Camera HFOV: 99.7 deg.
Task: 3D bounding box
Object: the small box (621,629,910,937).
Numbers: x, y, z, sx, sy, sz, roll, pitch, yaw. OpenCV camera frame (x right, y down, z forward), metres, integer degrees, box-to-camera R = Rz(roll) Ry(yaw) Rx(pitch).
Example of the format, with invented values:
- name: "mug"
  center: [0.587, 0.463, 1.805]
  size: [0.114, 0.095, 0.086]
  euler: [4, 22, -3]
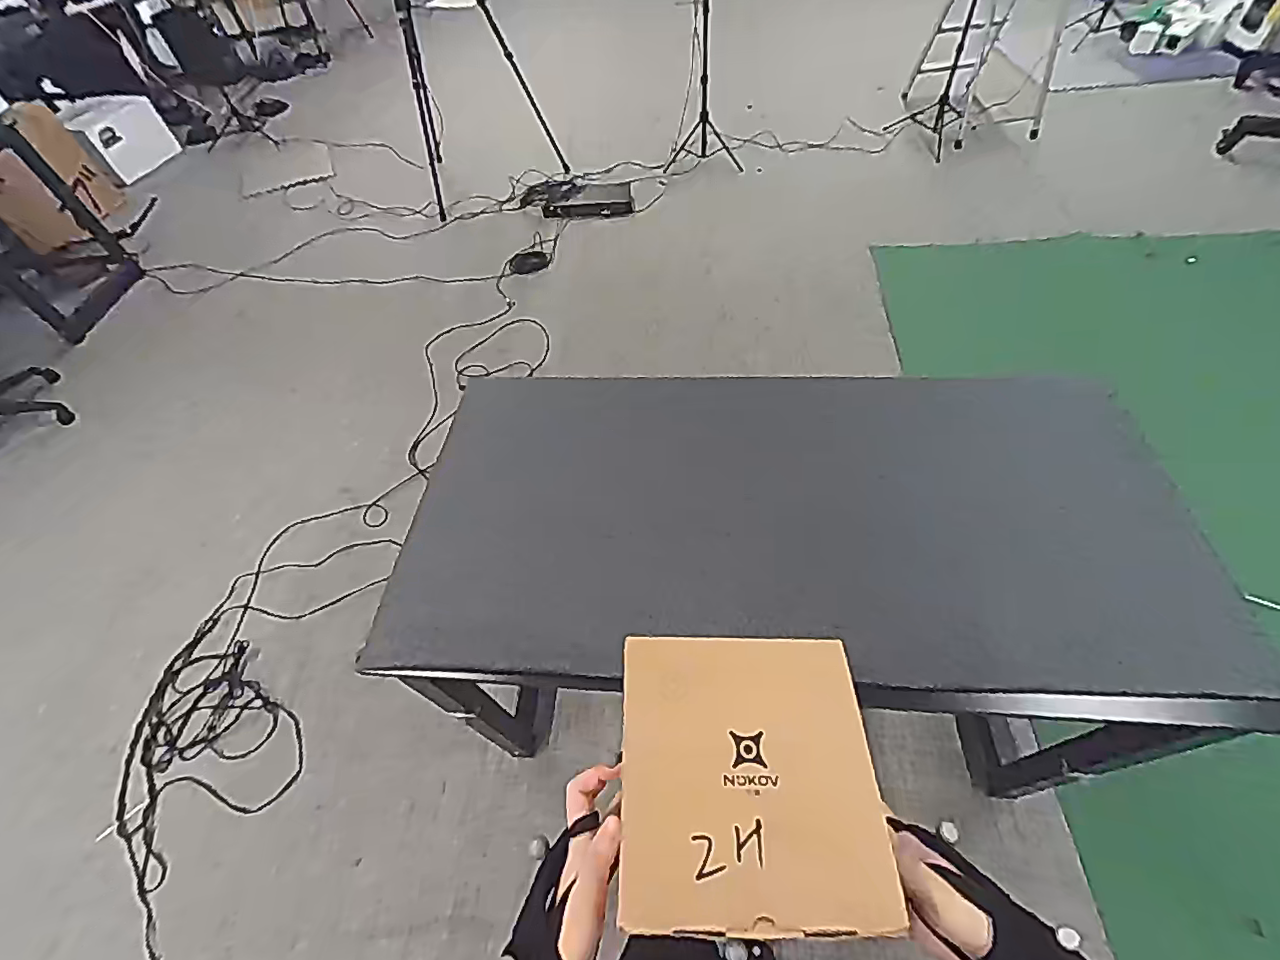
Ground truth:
- name: "small box"
  center: [0.071, 0.234, 0.417]
  size: [0.168, 0.176, 0.179]
  euler: [1, 49, 0]
